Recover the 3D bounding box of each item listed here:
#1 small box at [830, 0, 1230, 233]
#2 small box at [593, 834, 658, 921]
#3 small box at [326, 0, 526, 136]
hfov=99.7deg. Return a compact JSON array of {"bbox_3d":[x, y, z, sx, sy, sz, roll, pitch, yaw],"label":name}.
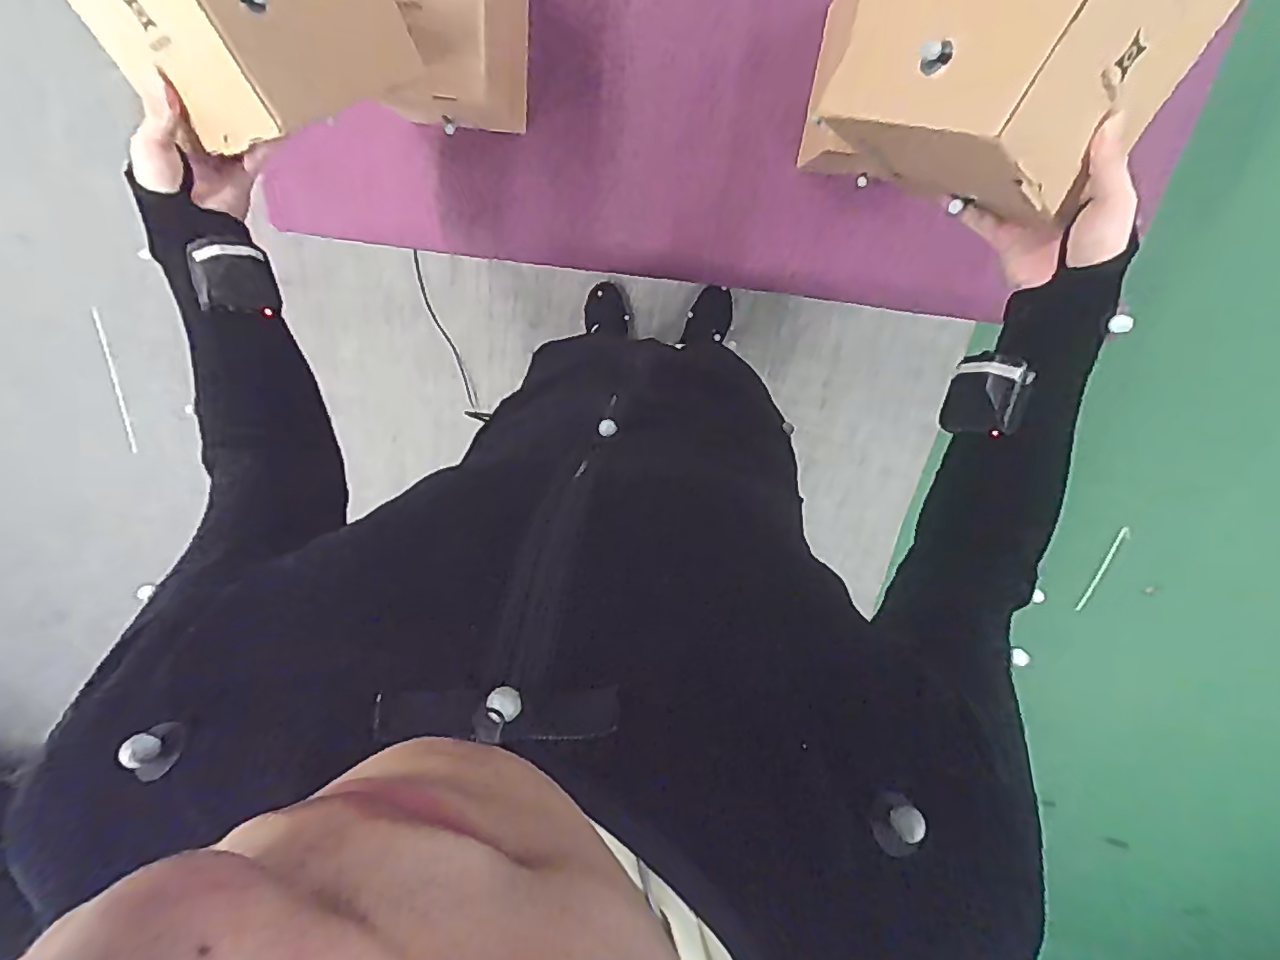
[{"bbox_3d":[0.277,-0.326,0.413,0.168,0.176,0.179,8,120,-40],"label":"small box"},{"bbox_3d":[-0.044,1.331,1.819,0.179,0.176,0.168,16,114,-3],"label":"small box"},{"bbox_3d":[-0.234,-0.521,0.621,0.168,0.176,0.179,7,113,2],"label":"small box"}]
